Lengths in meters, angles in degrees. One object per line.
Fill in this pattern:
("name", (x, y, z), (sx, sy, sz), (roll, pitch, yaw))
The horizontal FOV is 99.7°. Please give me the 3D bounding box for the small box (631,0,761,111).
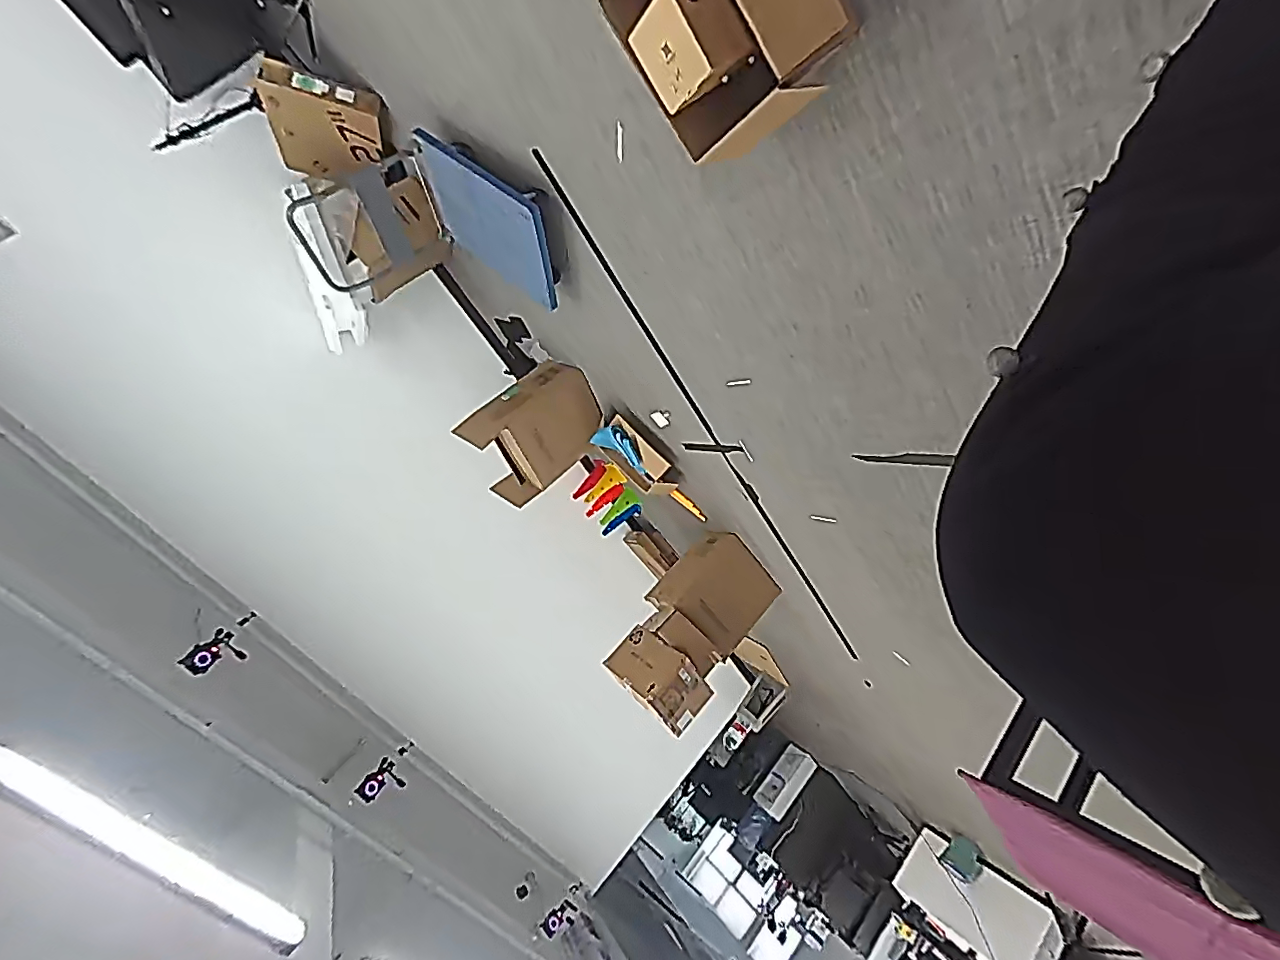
("small box", (0.120, -0.948, 1.152), (0.179, 0.176, 0.168), (52, 161, -19))
